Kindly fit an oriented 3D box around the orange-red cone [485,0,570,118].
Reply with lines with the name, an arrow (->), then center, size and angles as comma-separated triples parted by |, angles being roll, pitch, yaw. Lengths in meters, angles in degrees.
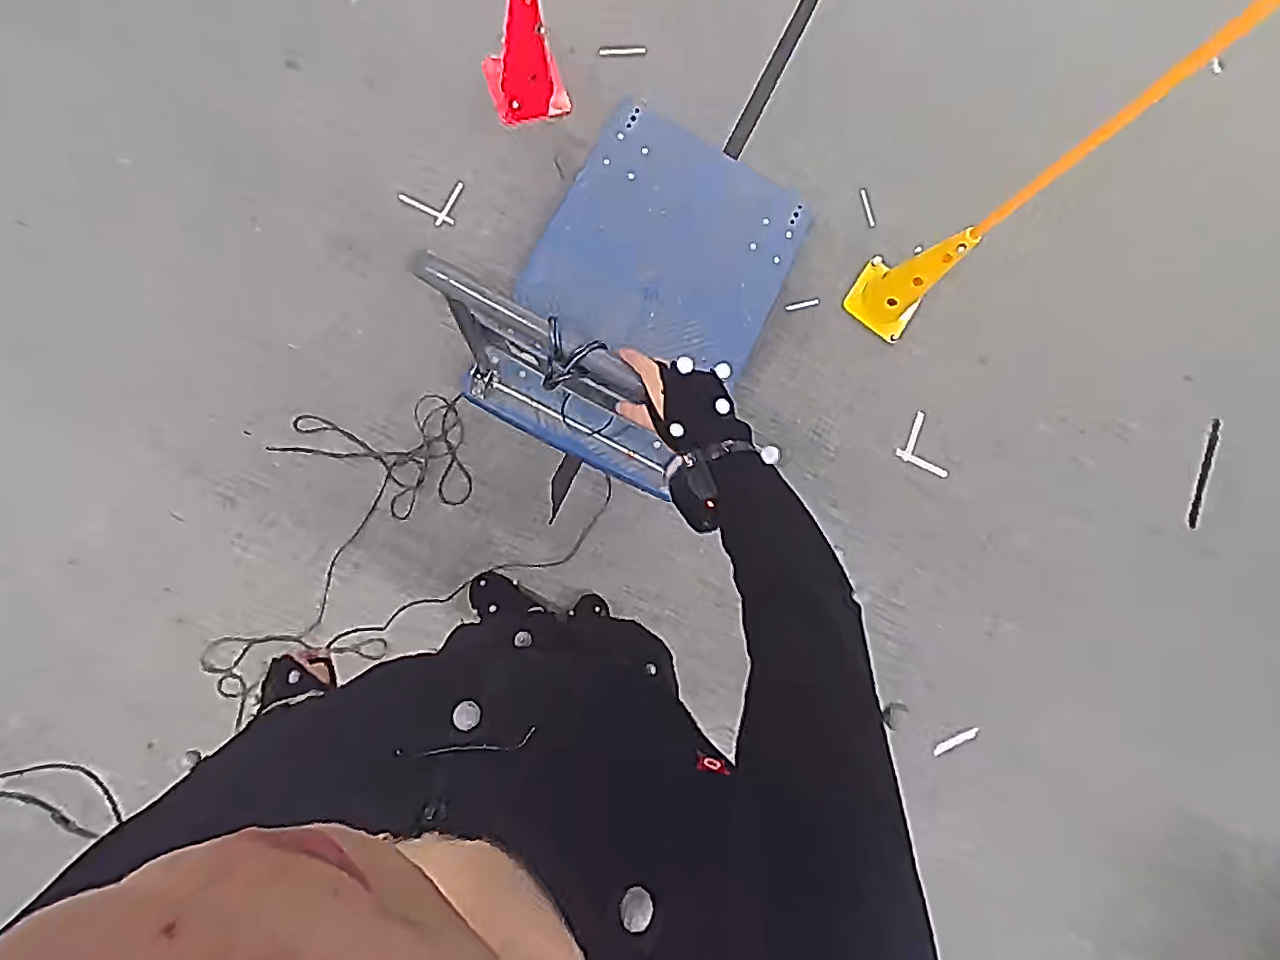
orange-red cone -> -0.278, -1.120, 1.325 | 0.199, 0.360, 0.198 | -19, 88, -12
